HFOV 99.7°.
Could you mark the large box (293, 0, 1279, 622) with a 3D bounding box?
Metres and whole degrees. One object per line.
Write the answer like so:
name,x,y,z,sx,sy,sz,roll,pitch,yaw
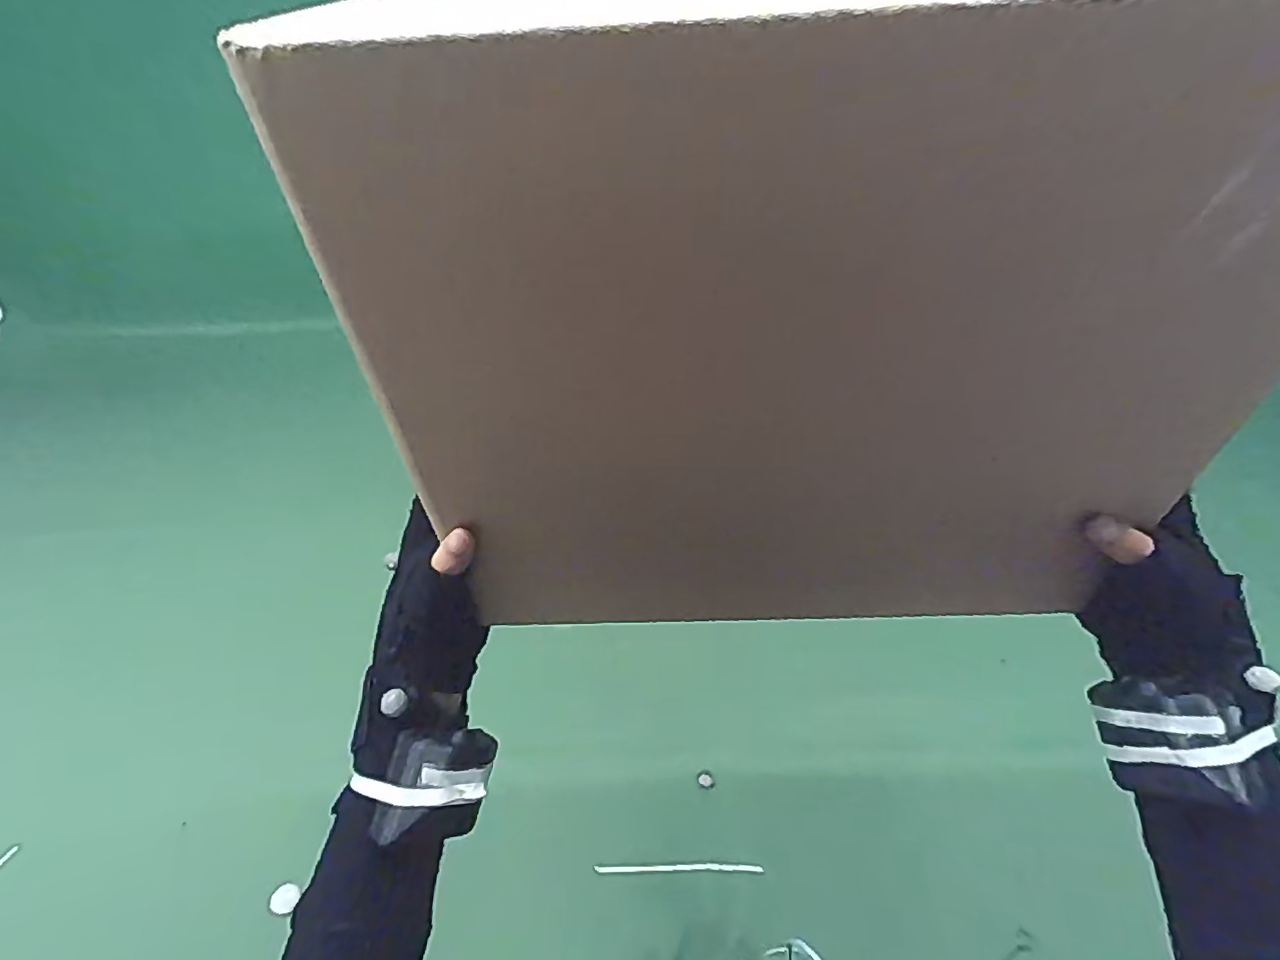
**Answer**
large box,0.088,-0.120,0.375,0.408,0.320,0.320,-1,42,1
